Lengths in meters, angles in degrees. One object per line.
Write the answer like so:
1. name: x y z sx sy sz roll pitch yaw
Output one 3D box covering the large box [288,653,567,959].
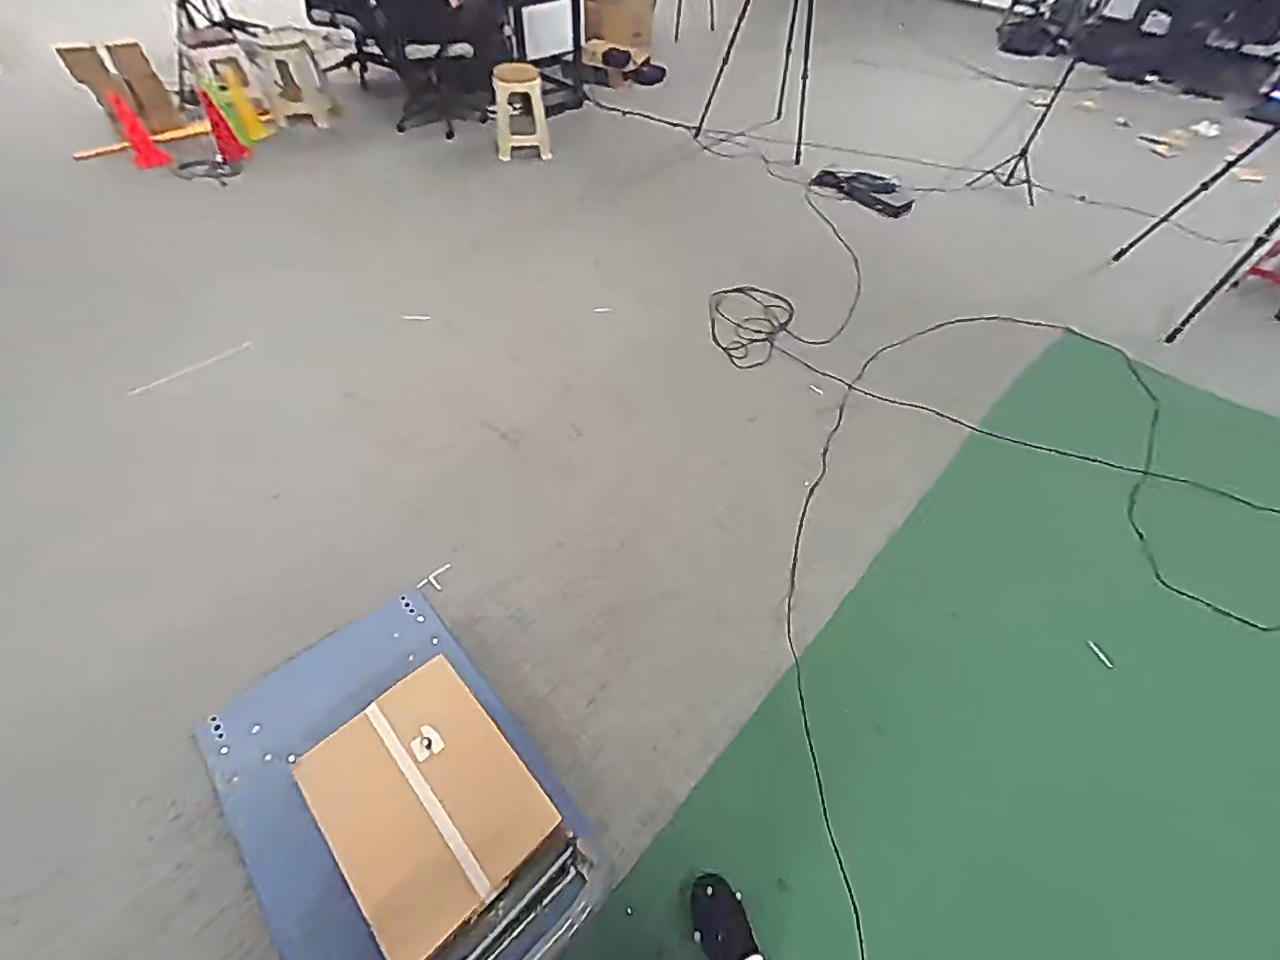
1. large box: -0.394 0.637 1.076 0.320 0.320 0.408 -36 62 -28
